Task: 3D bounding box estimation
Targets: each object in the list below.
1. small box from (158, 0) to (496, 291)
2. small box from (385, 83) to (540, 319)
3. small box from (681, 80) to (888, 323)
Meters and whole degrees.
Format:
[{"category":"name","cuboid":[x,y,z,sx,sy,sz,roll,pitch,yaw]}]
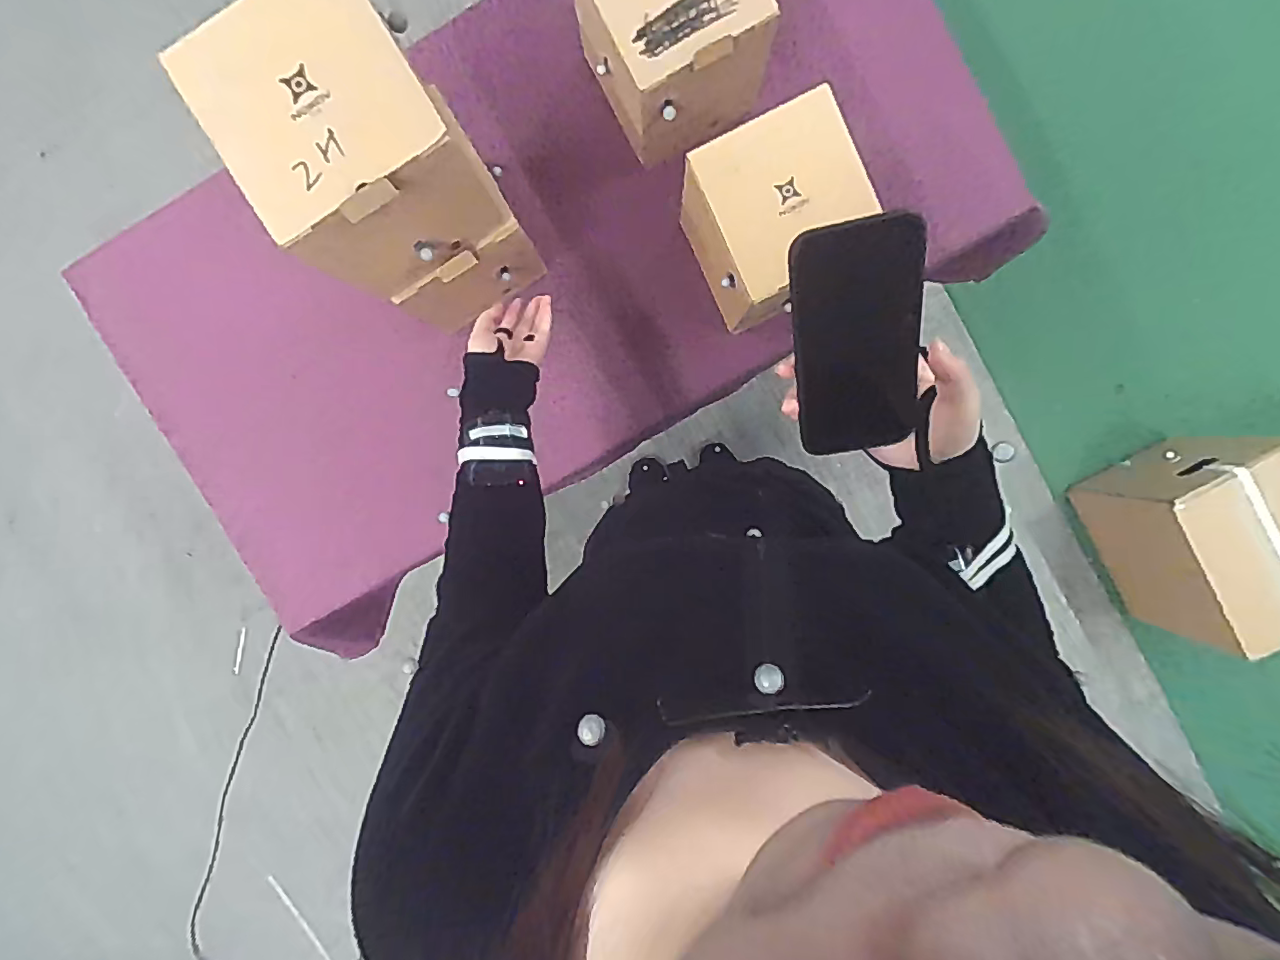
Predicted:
[{"category":"small box","cuboid":[-0.263,-0.308,0.501,0.168,0.176,0.179,-31,93,4]},{"category":"small box","cuboid":[-0.245,-0.318,0.665,0.168,0.176,0.179,-30,93,3]},{"category":"small box","cuboid":[0.157,-0.314,0.652,0.168,0.176,0.179,-25,94,4]}]
